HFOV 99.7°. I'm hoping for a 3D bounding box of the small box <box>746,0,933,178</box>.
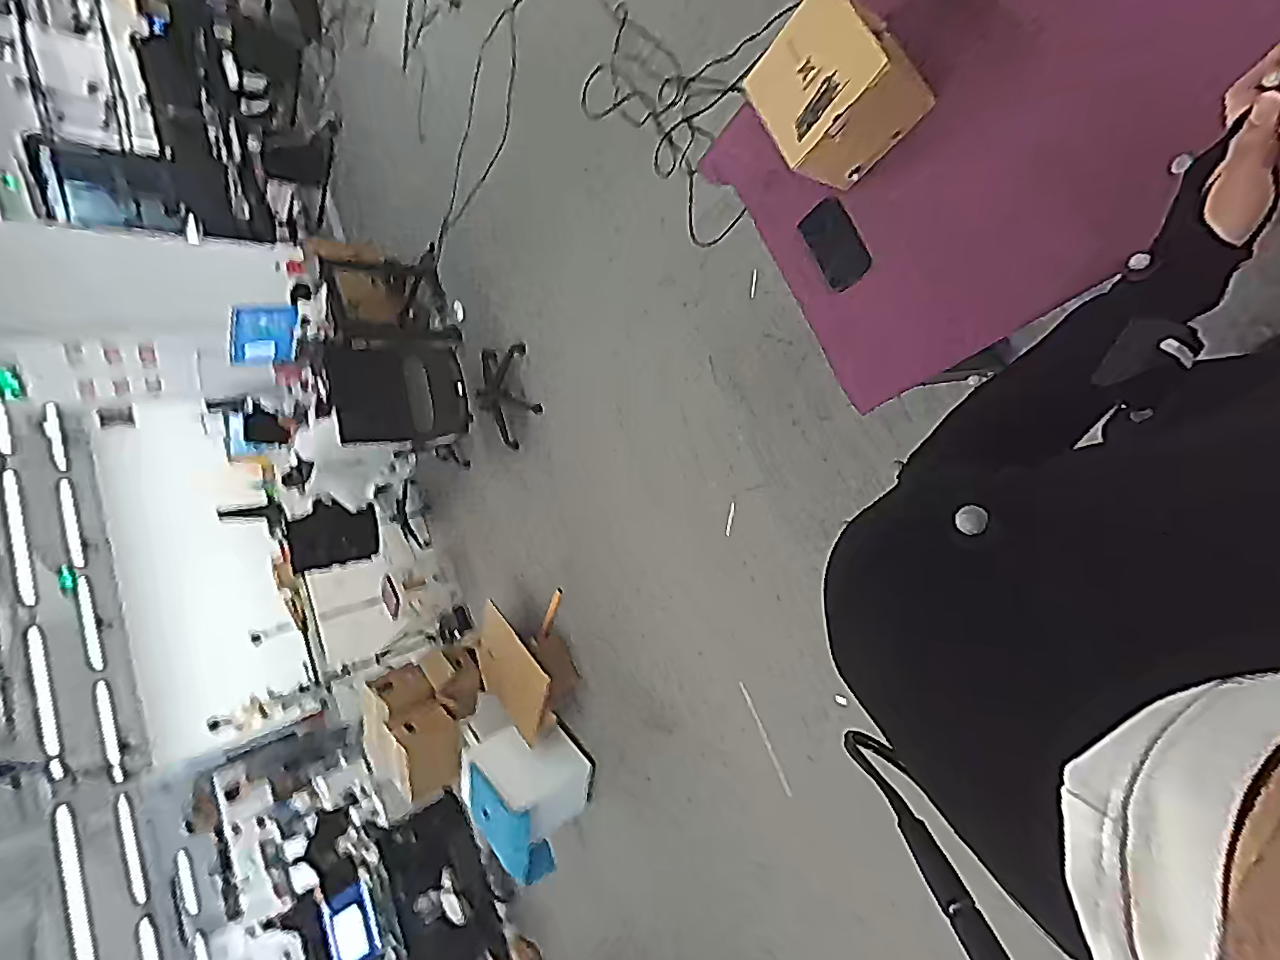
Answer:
[{"bbox_3d":[0.301,-0.588,0.815,0.168,0.176,0.179,-38,70,47],"label":"small box"}]
